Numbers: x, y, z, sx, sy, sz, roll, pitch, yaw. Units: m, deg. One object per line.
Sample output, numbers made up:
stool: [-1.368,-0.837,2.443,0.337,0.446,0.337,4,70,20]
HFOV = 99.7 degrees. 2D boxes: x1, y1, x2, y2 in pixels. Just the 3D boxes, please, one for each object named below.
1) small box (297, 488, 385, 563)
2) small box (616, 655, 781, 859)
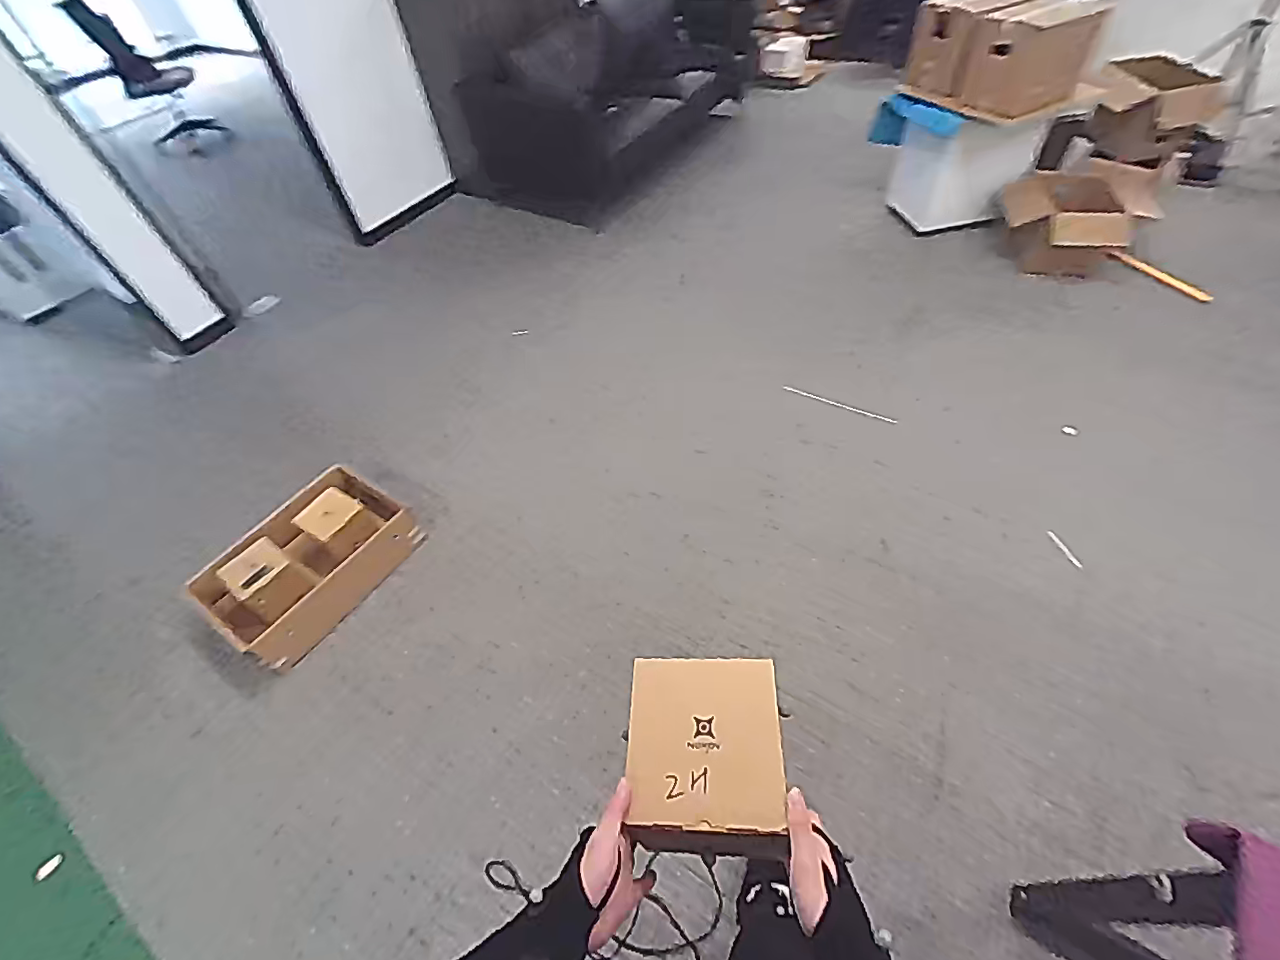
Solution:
small box: [-1.037,0.163,1.890,0.179,0.176,0.168,24,58,22]
small box: [0.073,0.328,0.645,0.168,0.176,0.179,-3,47,9]
